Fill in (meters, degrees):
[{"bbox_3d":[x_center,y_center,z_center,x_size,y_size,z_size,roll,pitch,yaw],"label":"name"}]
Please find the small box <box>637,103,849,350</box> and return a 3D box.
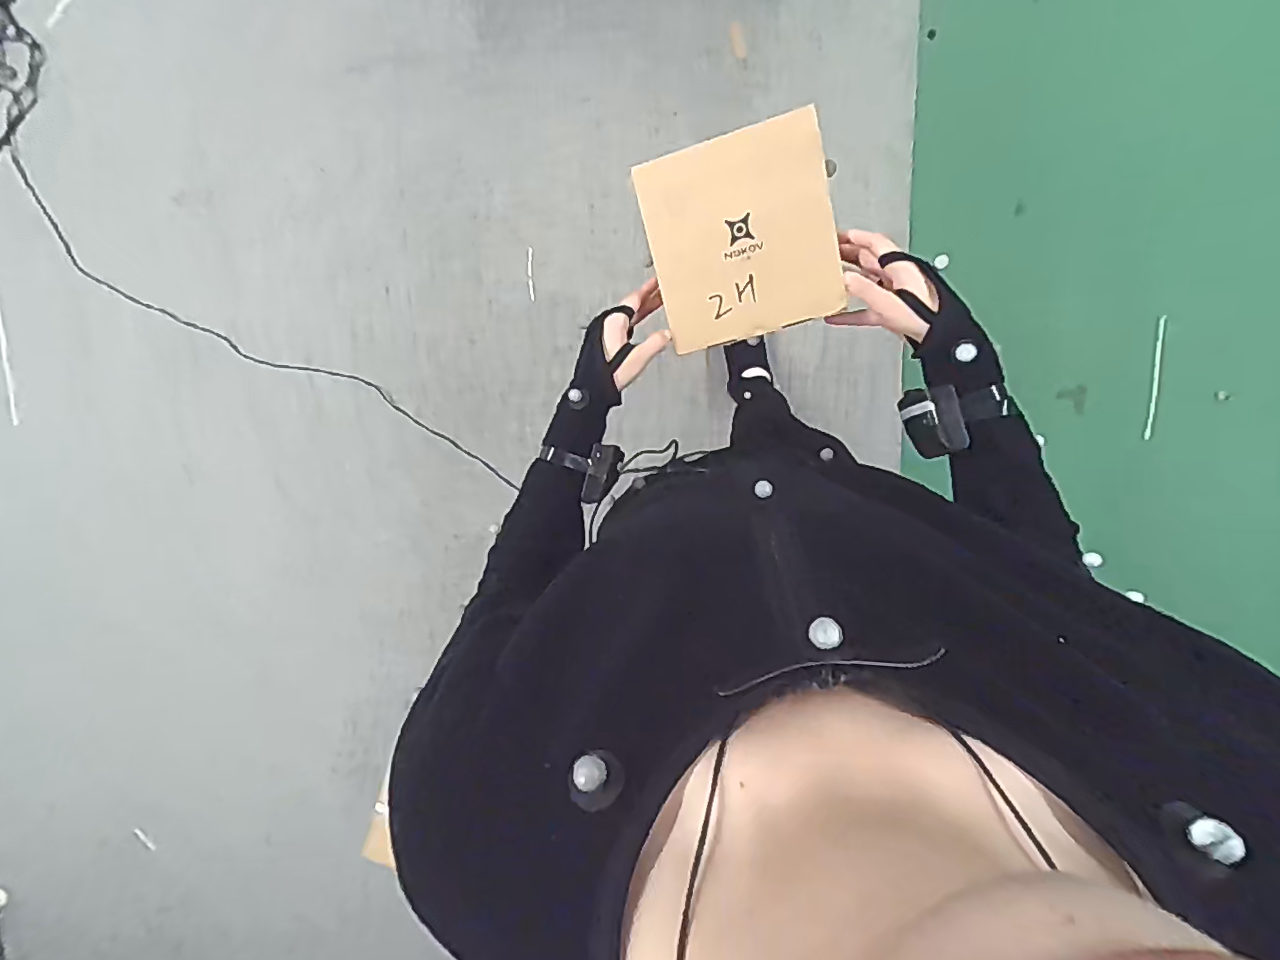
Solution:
[{"bbox_3d":[0.103,-0.244,0.565,0.168,0.176,0.179,-12,105,12],"label":"small box"}]
